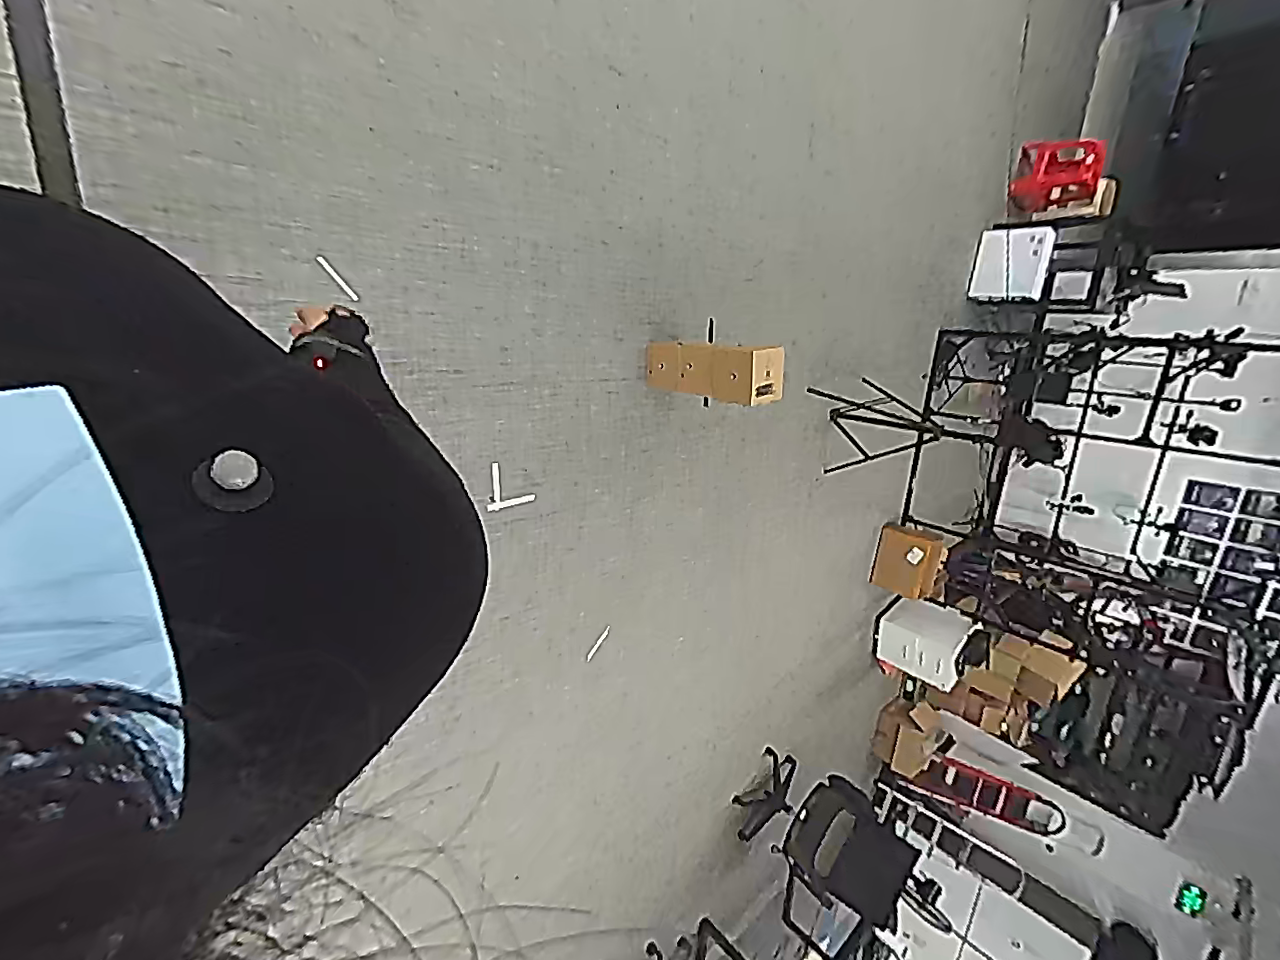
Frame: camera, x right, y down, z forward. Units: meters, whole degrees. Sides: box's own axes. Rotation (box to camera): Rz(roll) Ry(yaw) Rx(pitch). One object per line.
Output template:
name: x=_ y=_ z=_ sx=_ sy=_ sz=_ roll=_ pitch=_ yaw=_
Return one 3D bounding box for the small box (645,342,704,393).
small box: x=0.134 y=-0.425 z=2.029 sx=0.179 sy=0.176 sz=0.168 roll=-16 pitch=115 yaw=-40

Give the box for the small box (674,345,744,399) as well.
small box: x=0.244 y=-0.387 z=1.916 sx=0.179 sy=0.176 sz=0.168 roll=-14 pitch=113 yaw=-39
